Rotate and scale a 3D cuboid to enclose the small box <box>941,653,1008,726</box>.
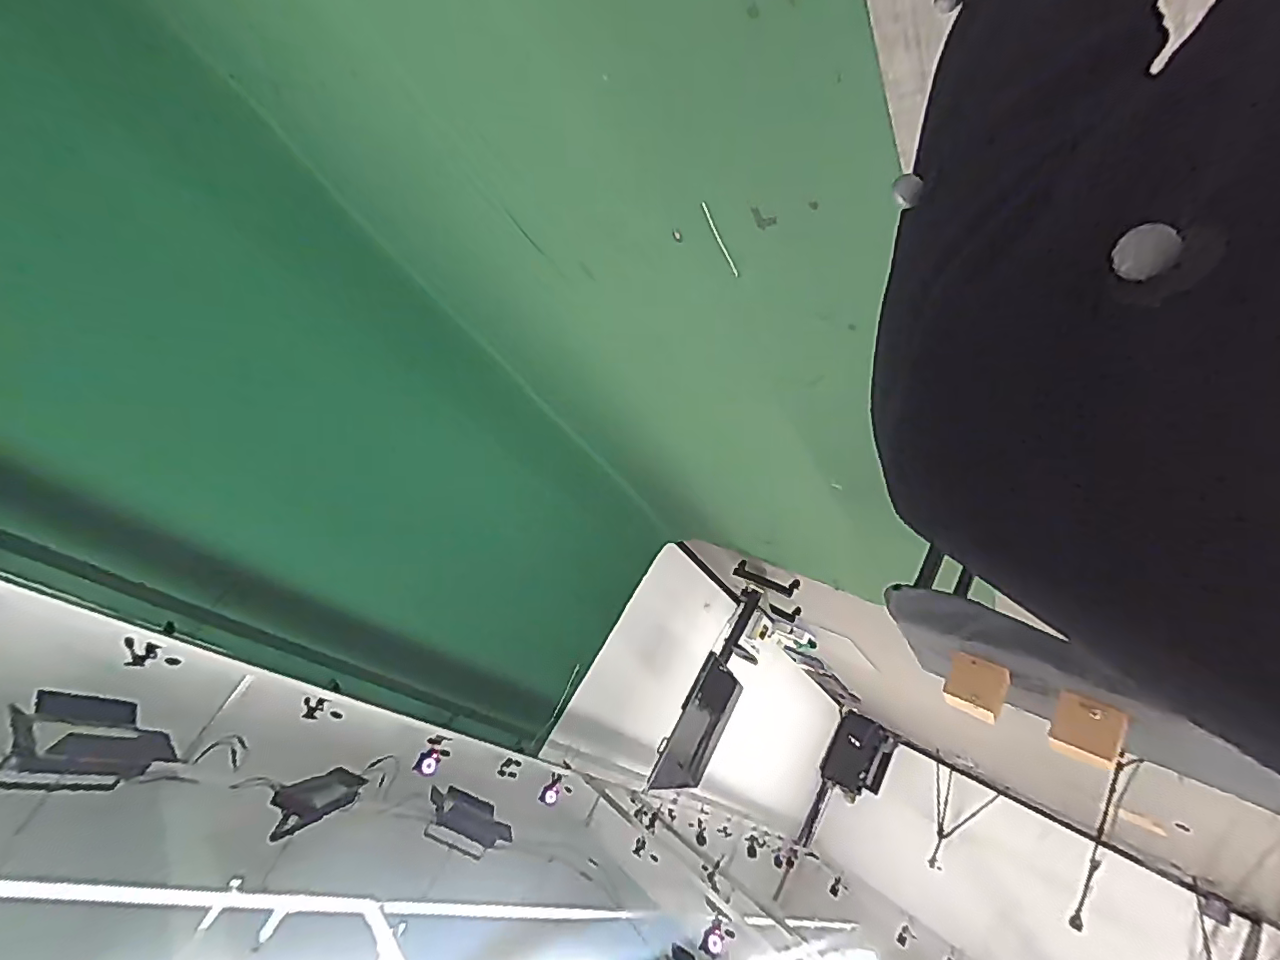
[{"bbox_3d":[1.218,0.755,1.961,0.168,0.176,0.179,16,158,42],"label":"small box"}]

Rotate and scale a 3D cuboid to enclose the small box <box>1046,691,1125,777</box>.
[{"bbox_3d":[1.436,0.813,1.739,0.168,0.176,0.179,12,154,47],"label":"small box"}]
